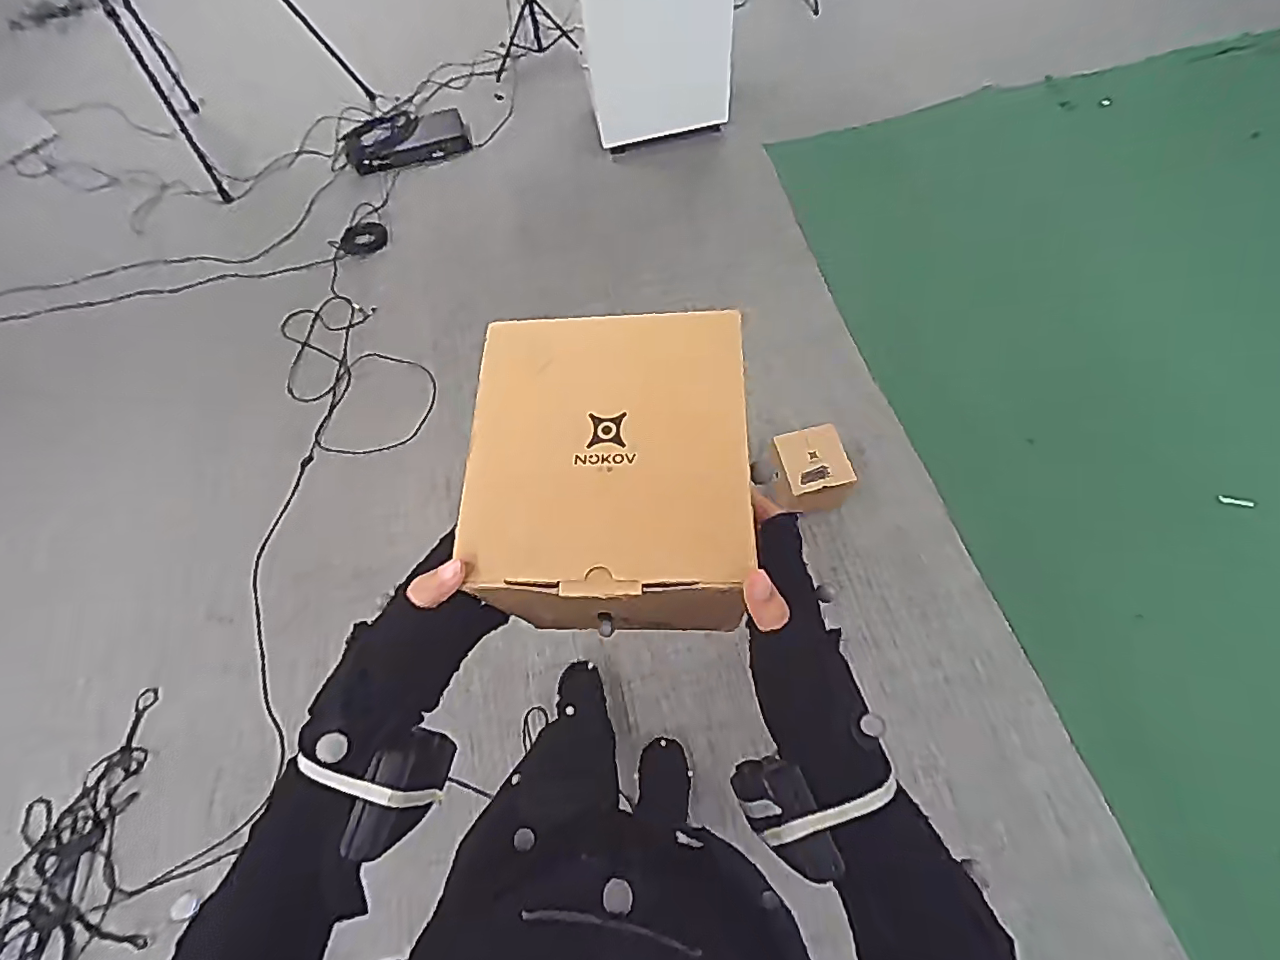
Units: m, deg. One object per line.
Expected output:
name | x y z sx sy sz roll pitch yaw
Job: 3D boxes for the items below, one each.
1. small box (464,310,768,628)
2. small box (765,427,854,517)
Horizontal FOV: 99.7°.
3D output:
small box | -0.005 0.004 0.390 0.168 0.176 0.179 -1 67 6
small box | 0.444 -0.014 1.444 0.168 0.176 0.179 -12 64 -1
